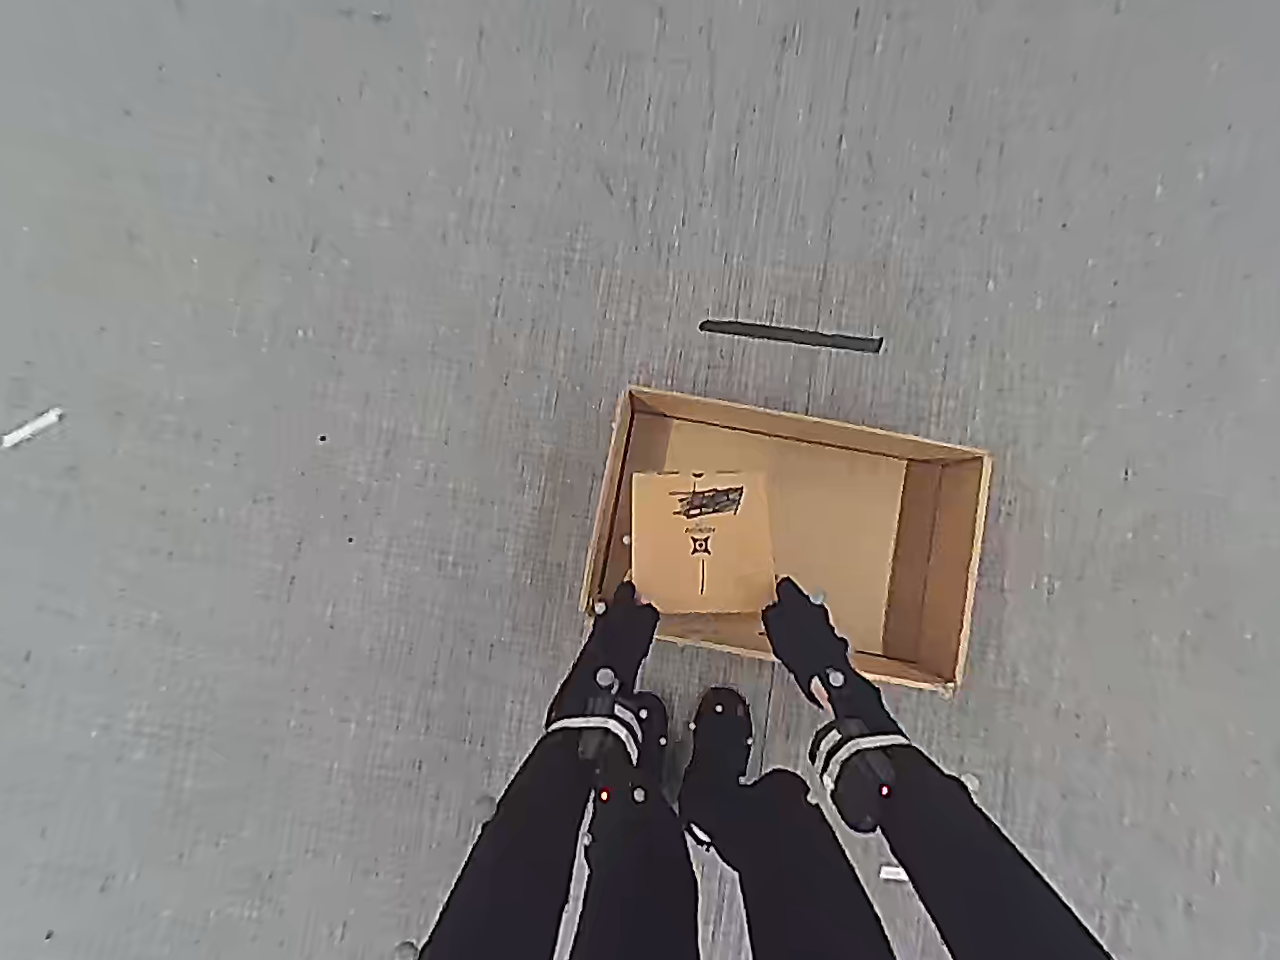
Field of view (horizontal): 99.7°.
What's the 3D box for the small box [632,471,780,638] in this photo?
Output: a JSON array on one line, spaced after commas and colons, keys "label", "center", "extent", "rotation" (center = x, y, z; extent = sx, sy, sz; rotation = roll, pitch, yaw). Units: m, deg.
[{"label": "small box", "center": [0.076, 0.102, 0.699], "extent": [0.168, 0.176, 0.179], "rotation": [-2, 66, 3]}]
